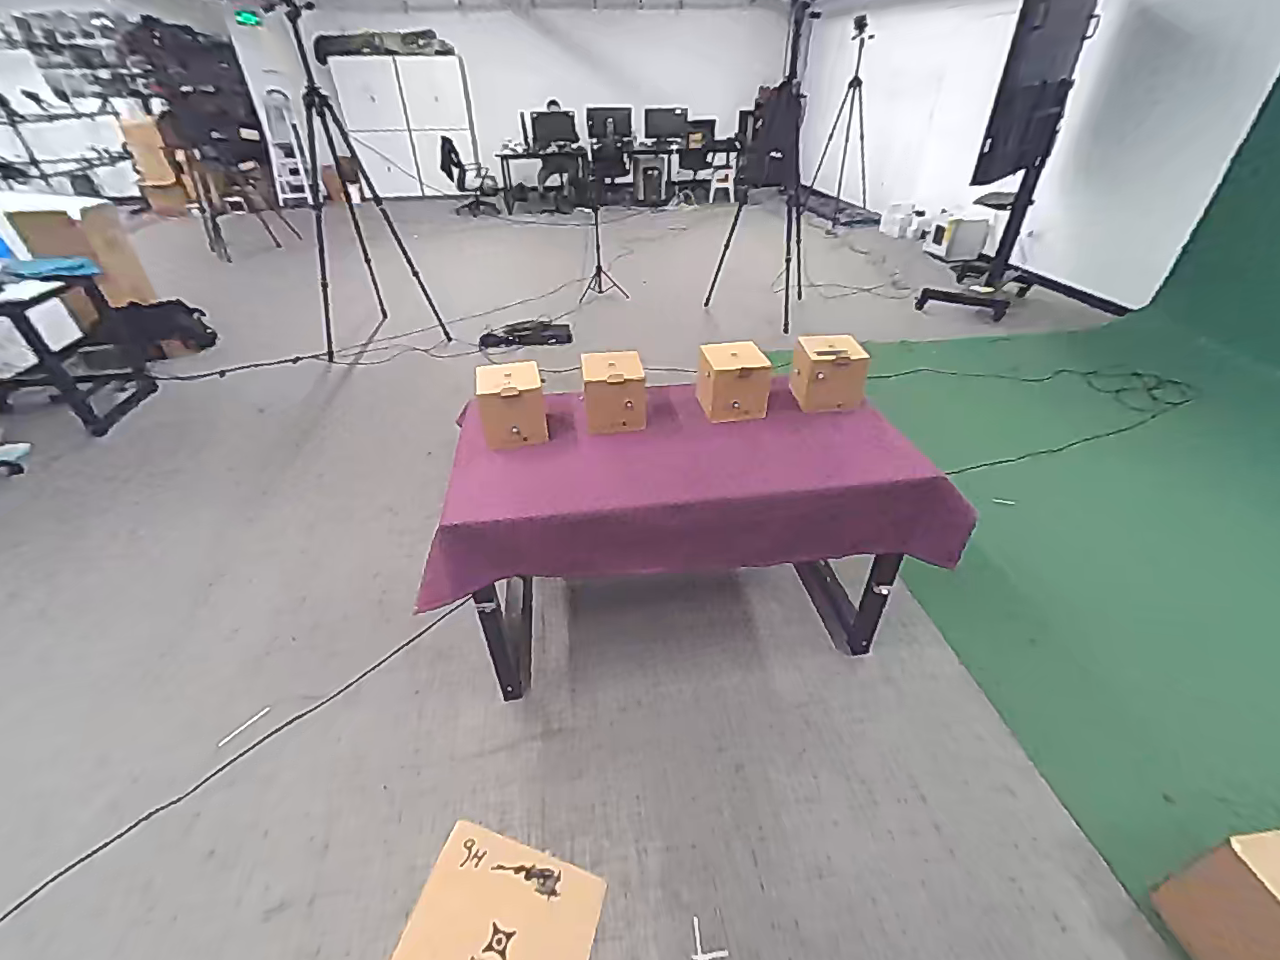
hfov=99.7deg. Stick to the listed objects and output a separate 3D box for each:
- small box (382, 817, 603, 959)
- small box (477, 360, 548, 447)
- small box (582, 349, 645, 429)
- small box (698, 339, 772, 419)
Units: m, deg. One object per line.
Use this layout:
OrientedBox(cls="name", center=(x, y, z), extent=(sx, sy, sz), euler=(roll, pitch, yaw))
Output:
OrientedBox(cls="small box", center=(-0.153, 0.477, 0.519), extent=(0.168, 0.176, 0.179), euler=(21, 33, 3))
OrientedBox(cls="small box", center=(-0.348, -0.210, 1.484), extent=(0.168, 0.176, 0.179), euler=(-9, 38, -10))
OrientedBox(cls="small box", center=(-0.075, -0.255, 1.537), extent=(0.168, 0.176, 0.179), euler=(-5, 37, -6))
OrientedBox(cls="small box", center=(0.269, -0.296, 1.579), extent=(0.168, 0.176, 0.179), euler=(-7, 38, -7))
